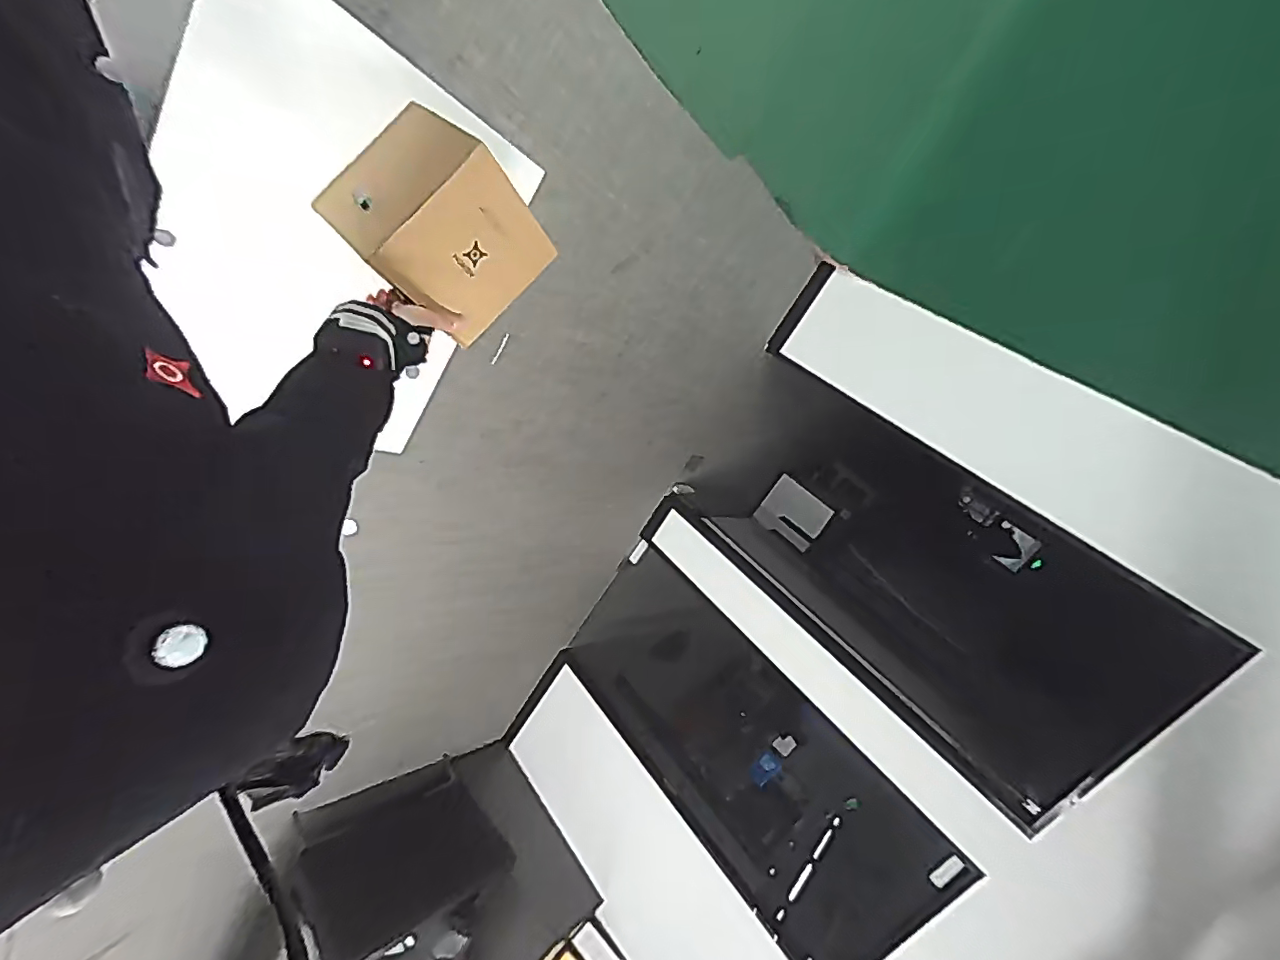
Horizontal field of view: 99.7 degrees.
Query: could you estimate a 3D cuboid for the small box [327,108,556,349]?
[{"bbox_3d":[-0.243,-0.302,0.657,0.179,0.176,0.168,-48,152,-2],"label":"small box"}]
